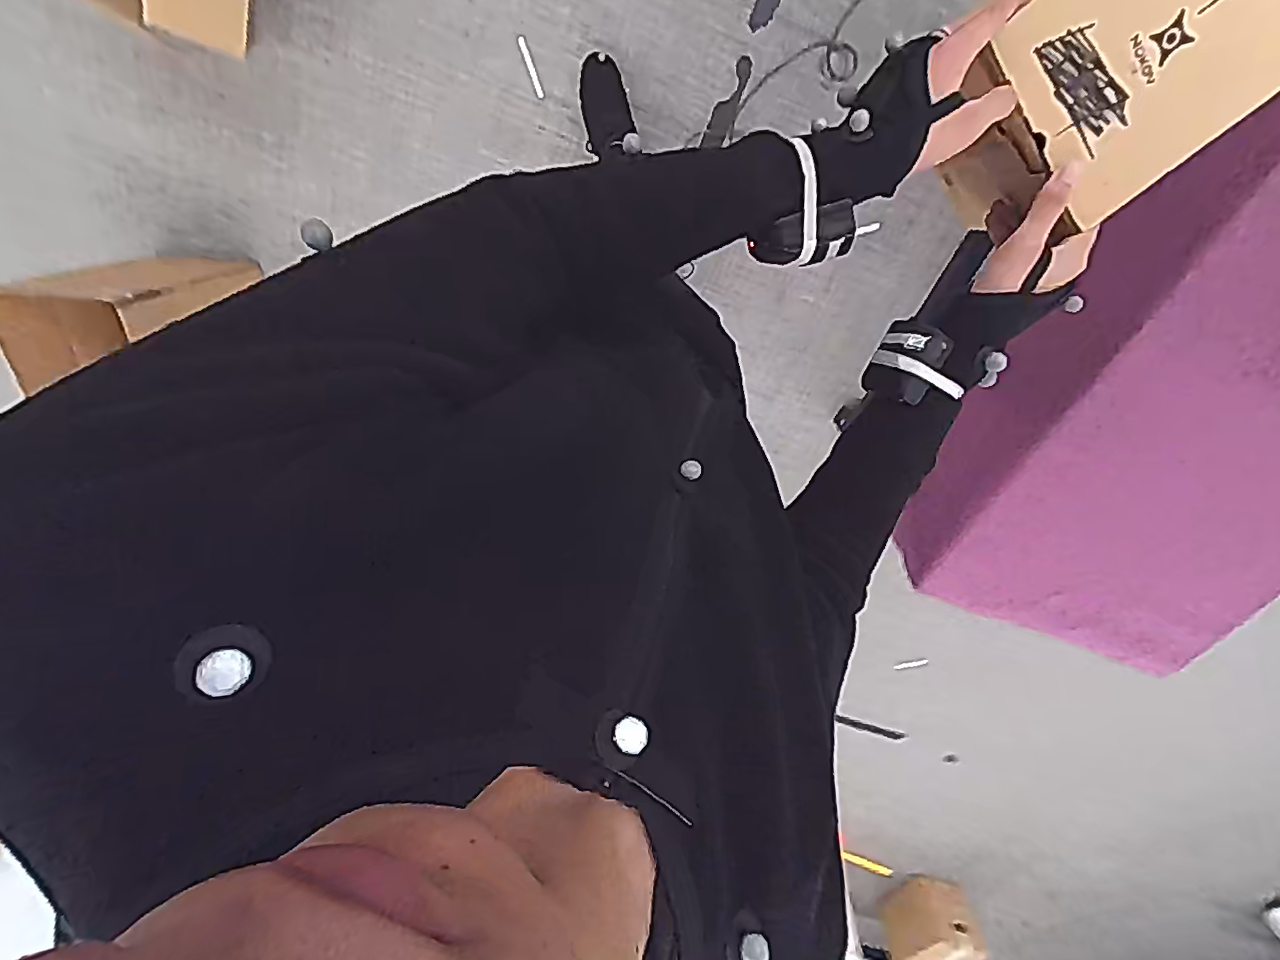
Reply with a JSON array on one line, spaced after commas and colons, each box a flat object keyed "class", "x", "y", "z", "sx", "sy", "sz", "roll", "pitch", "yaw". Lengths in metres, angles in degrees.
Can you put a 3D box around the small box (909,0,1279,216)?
[{"class": "small box", "x": 0.349, "y": -0.339, "z": 0.434, "sx": 0.179, "sy": 0.176, "sz": 0.168, "roll": -39, "pitch": 110, "yaw": 17}]
